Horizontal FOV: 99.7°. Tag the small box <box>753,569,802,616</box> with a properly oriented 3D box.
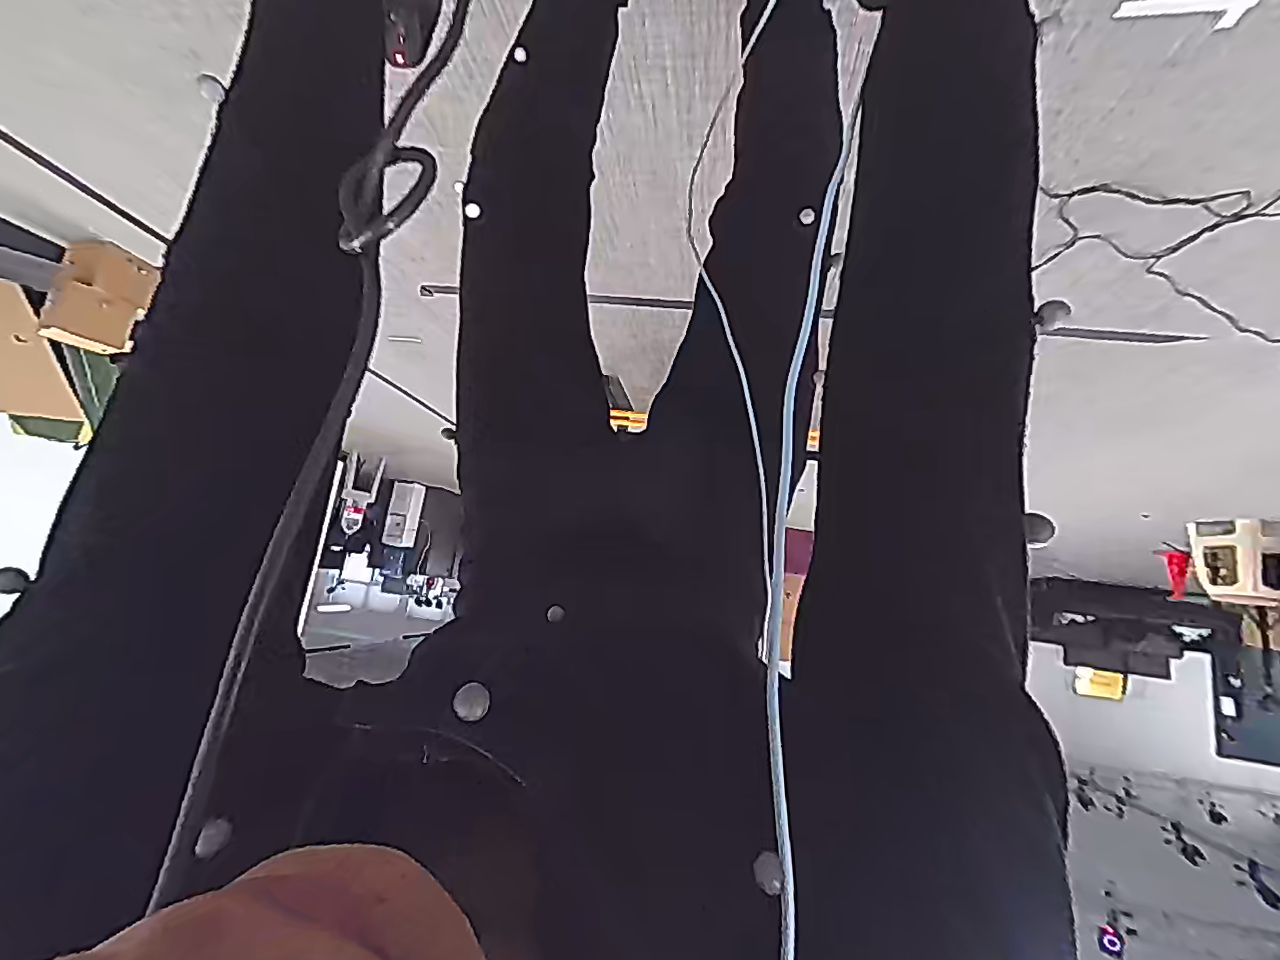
[{"bbox_3d":[0.571,0.466,2.249,0.168,0.176,0.179,8,169,6],"label":"small box"}]

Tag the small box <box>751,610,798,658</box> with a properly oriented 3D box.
[{"bbox_3d":[0.554,0.629,2.229,0.168,0.176,0.179,6,170,10],"label":"small box"}]
